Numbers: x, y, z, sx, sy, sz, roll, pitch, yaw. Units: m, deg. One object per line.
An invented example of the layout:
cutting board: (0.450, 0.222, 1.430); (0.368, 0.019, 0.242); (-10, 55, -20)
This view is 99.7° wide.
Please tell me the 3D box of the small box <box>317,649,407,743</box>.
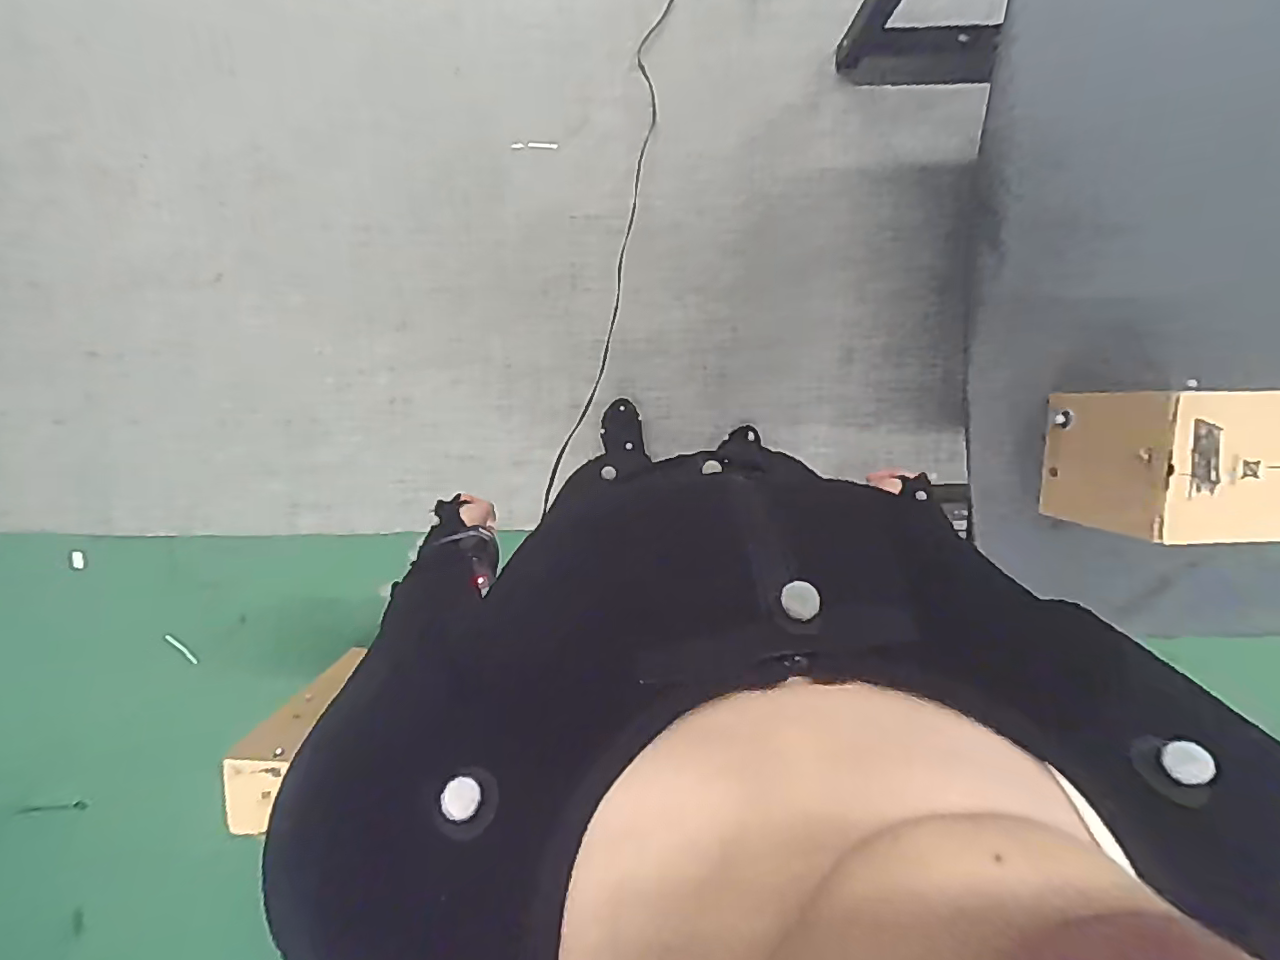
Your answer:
small box: (-0.761, 0.588, 1.492); (0.168, 0.176, 0.179); (7, 99, -1)

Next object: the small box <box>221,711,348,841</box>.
small box: (-0.753, 0.630, 1.165); (0.168, 0.176, 0.179); (4, 100, 1)

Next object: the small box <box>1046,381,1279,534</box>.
small box: (0.640, -0.032, 0.656); (0.179, 0.176, 0.168); (-1, 98, -3)
